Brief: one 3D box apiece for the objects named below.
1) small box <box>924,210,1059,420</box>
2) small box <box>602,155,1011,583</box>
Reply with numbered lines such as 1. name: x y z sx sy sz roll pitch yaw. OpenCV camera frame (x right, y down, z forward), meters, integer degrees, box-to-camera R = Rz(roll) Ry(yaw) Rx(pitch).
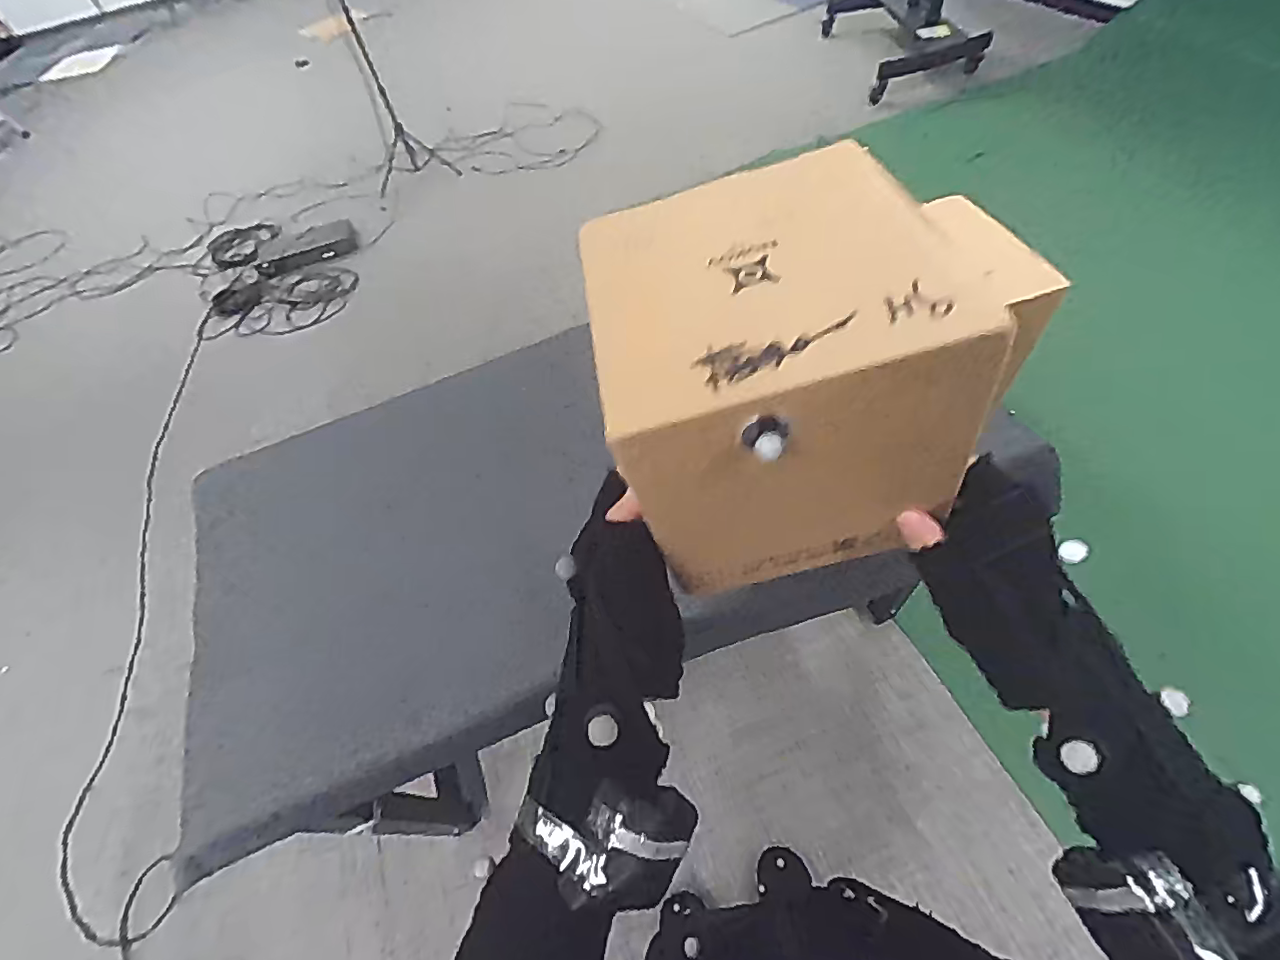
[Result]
1. small box: 0.300 -0.164 0.609 0.168 0.176 0.179 -17 55 -2
2. small box: 0.082 -0.062 0.340 0.168 0.176 0.179 -15 51 8
